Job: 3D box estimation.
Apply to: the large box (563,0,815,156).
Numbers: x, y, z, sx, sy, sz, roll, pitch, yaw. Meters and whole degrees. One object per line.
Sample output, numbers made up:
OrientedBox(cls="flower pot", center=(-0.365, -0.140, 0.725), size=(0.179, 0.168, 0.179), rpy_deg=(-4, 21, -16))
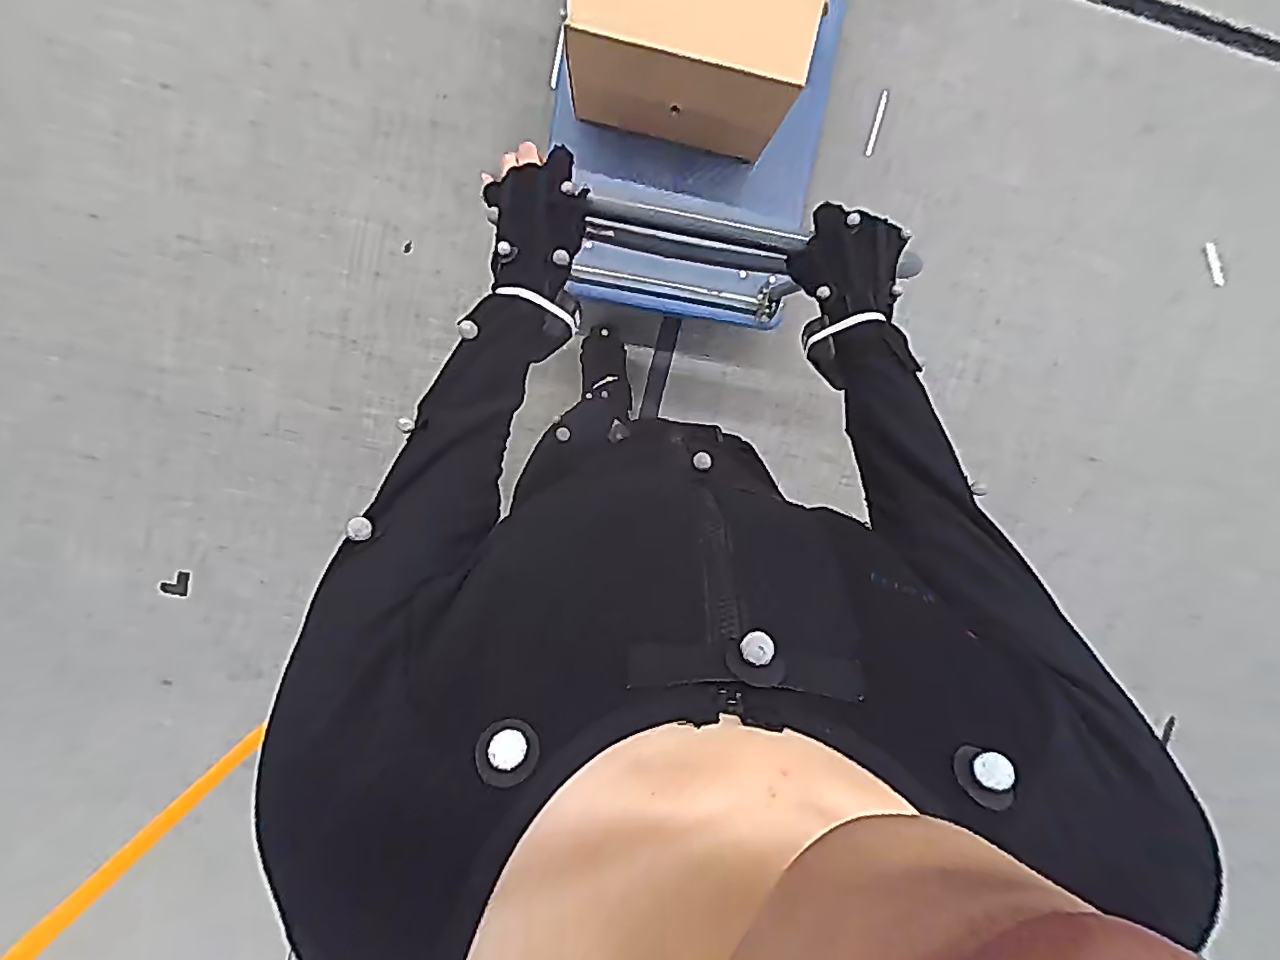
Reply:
OrientedBox(cls="large box", center=(0.092, -0.861, 1.011), size=(0.408, 0.320, 0.320), rpy_deg=(11, 99, -4))

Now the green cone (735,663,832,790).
OrientedBox(cls="green cone", center=(0.411, 0.678, 1.435), size=(0.202, 0.368, 0.200), rpy_deg=(16, 98, -7))
